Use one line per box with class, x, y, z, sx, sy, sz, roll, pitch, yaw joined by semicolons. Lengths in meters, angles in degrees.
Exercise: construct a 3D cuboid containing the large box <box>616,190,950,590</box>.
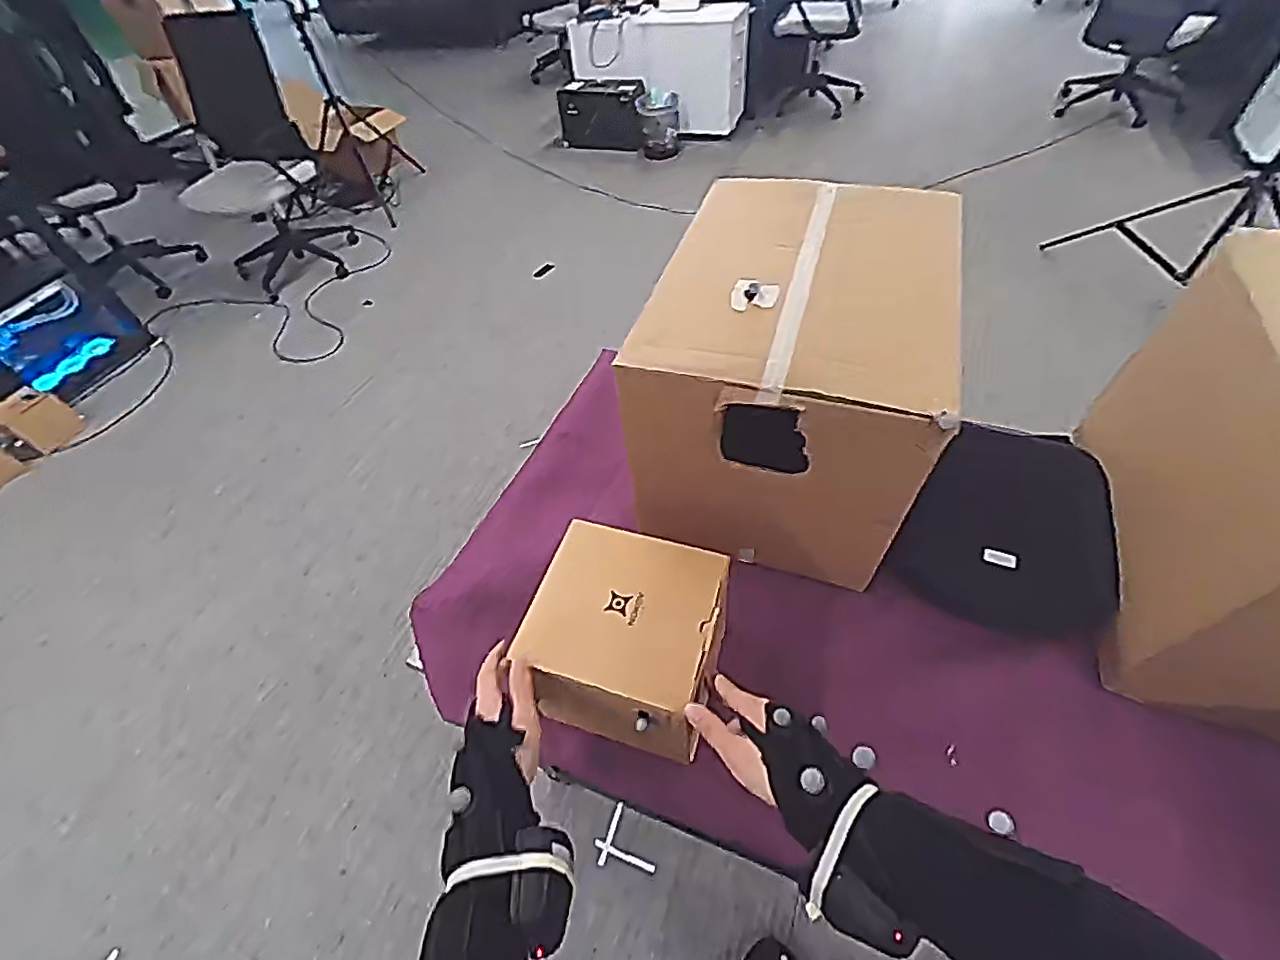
large box;0.190;-0.128;0.721;0.320;0.320;0.408;12;55;16
